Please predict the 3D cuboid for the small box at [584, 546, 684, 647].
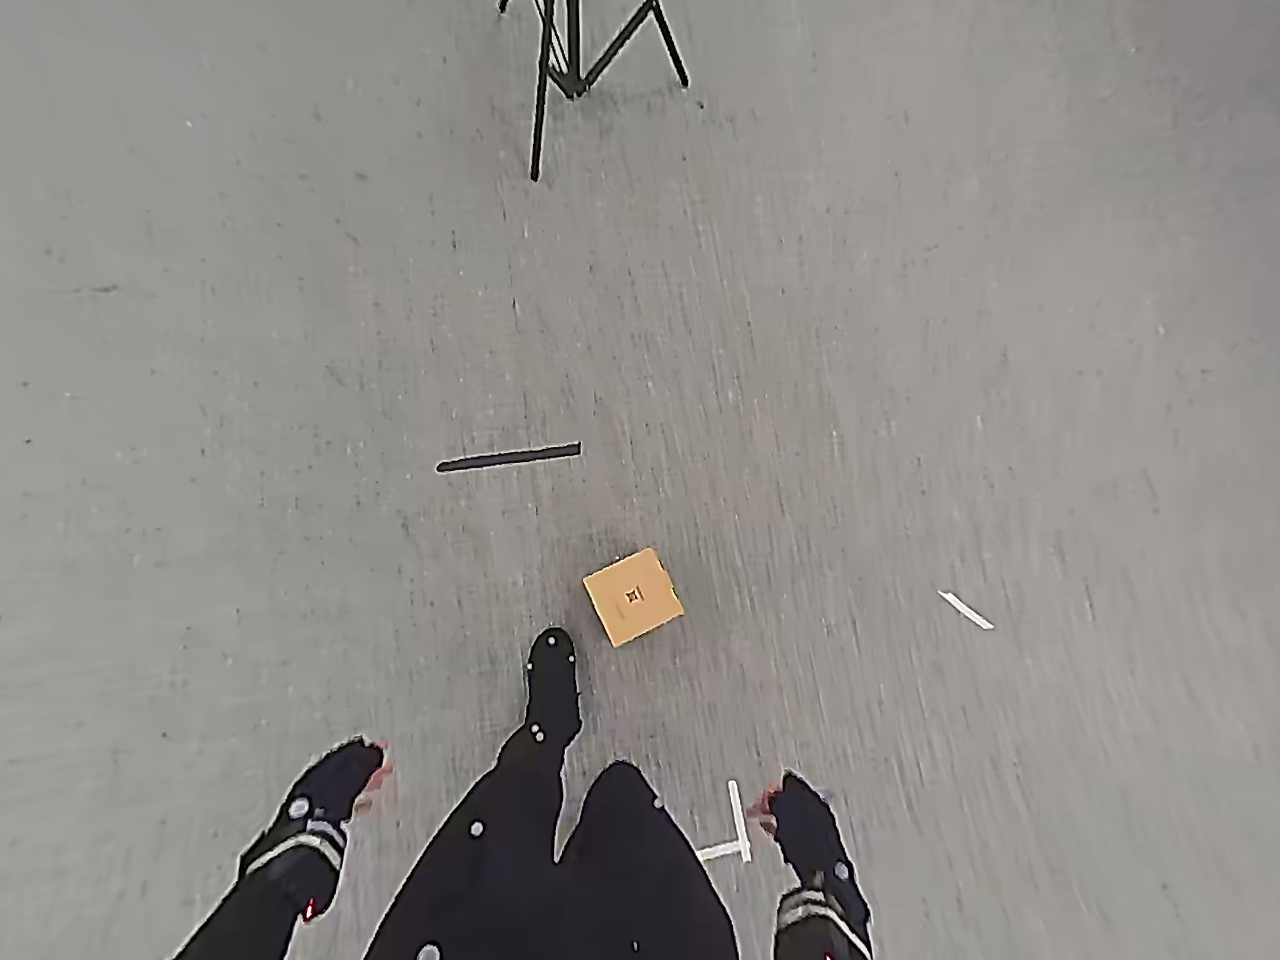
[{"bbox_3d":[-0.022,0.268,1.263,0.179,0.176,0.168,-26,81,-10],"label":"small box"}]
